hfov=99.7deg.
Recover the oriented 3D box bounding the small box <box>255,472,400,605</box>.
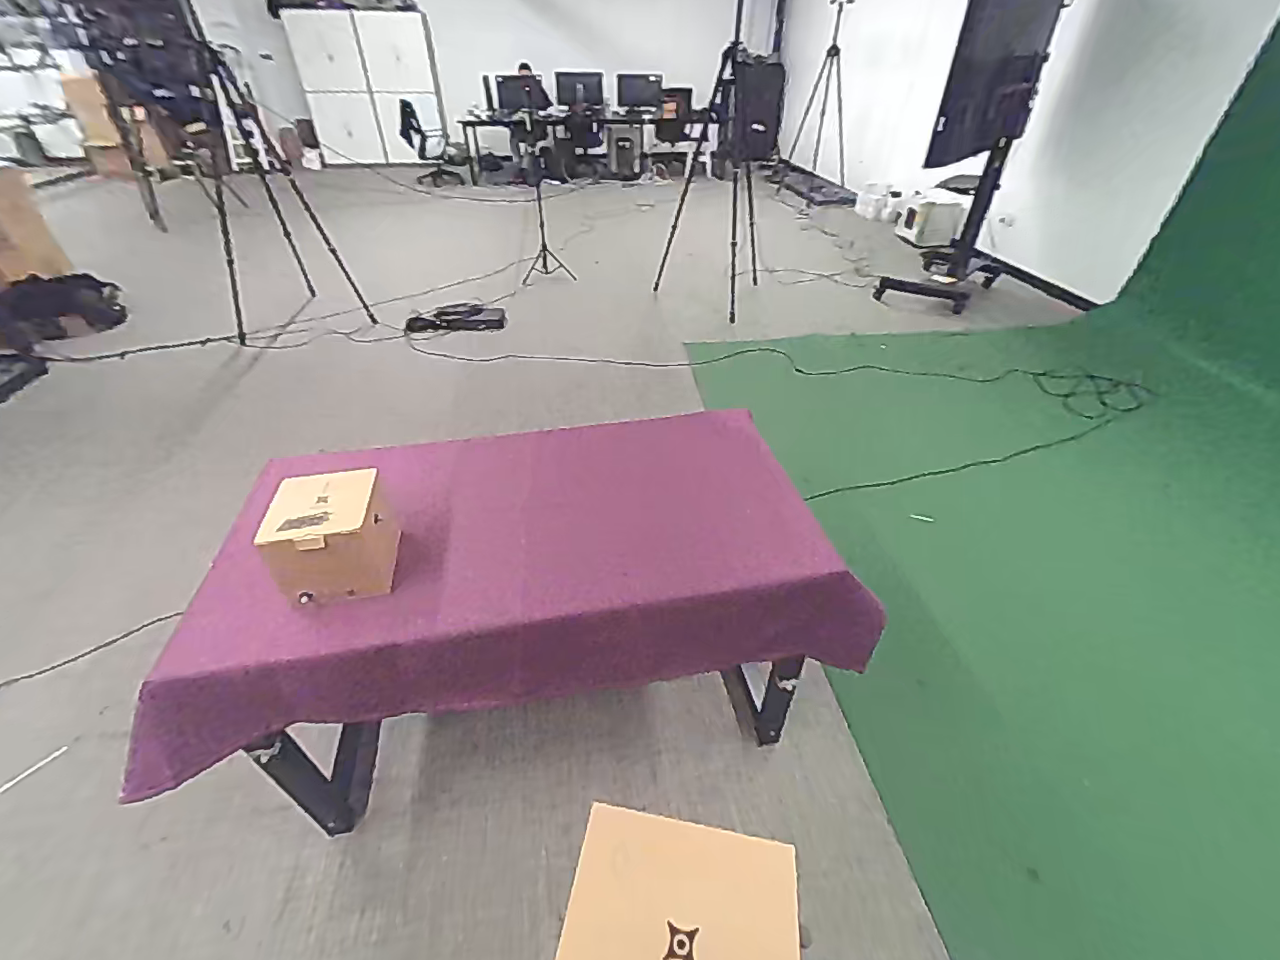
[{"bbox_3d":[-0.555,0.111,0.991,0.168,0.176,0.179,-7,38,-10],"label":"small box"}]

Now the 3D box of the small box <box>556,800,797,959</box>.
[{"bbox_3d":[0.022,0.391,0.417,0.168,0.176,0.179,7,37,8],"label":"small box"}]
